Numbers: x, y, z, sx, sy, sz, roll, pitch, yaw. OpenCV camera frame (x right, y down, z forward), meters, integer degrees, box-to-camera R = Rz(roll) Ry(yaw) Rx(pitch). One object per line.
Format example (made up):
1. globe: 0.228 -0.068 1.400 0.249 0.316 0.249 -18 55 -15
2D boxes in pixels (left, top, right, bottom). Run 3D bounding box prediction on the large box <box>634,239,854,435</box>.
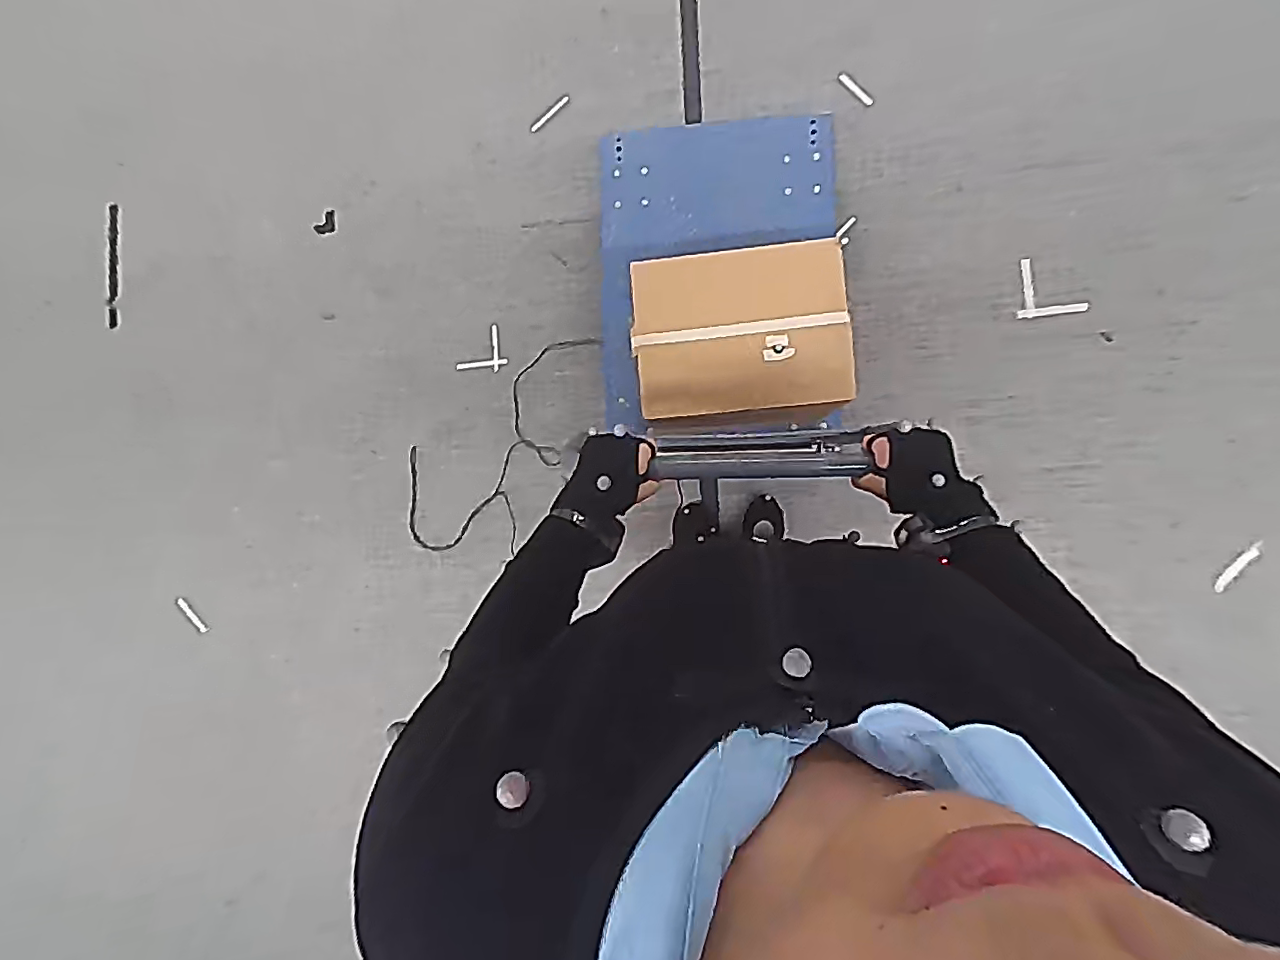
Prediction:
1. large box: 0.209 -0.287 1.195 0.408 0.320 0.320 -5 89 5
